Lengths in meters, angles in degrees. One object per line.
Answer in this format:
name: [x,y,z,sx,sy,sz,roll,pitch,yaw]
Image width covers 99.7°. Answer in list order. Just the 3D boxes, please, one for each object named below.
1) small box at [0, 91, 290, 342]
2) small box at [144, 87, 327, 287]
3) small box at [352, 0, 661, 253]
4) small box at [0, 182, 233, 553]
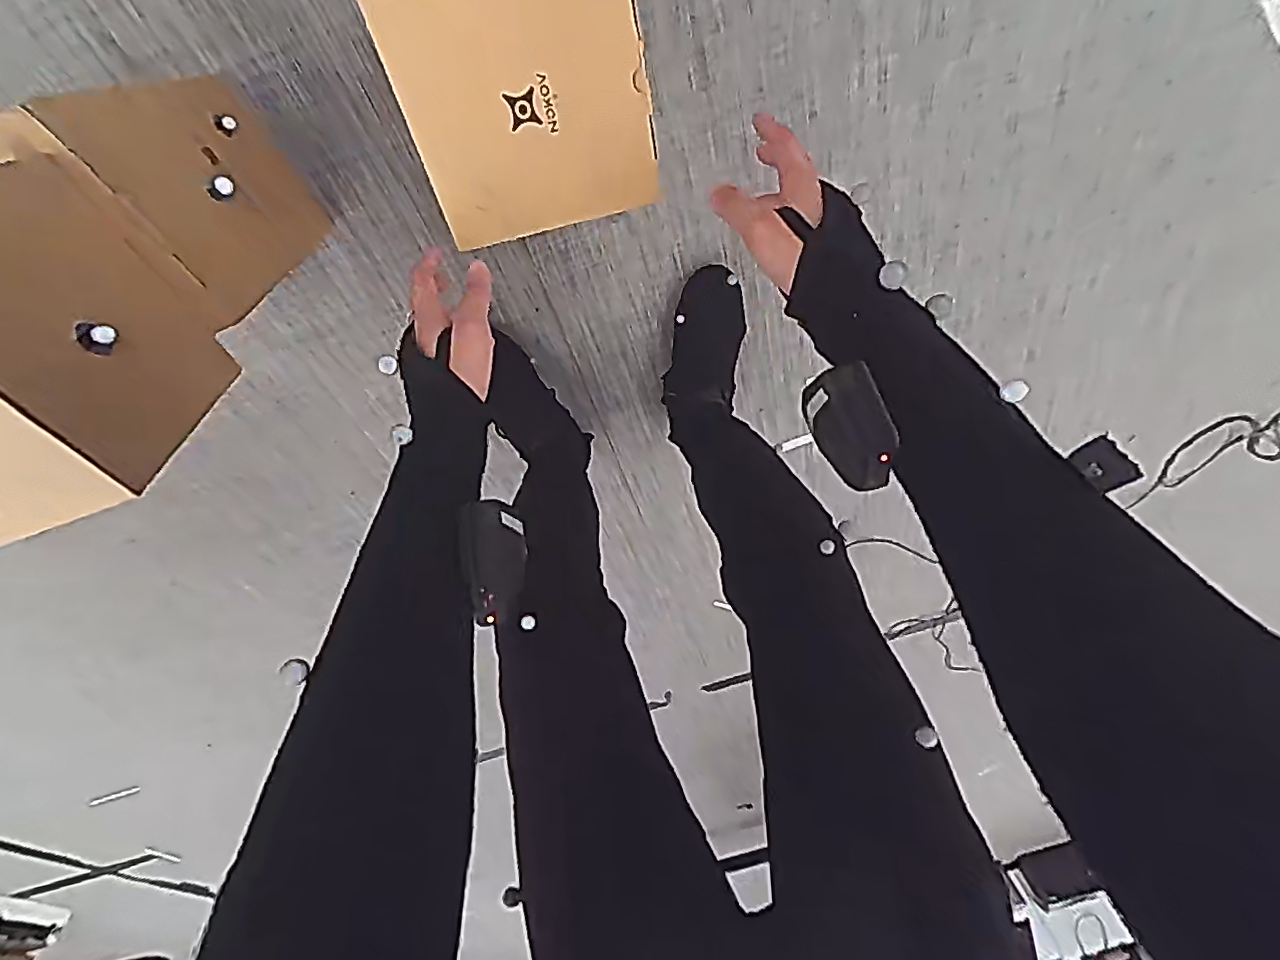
small box: [-0.449,-0.199,0.461,0.179,0.176,0.168,-22,131,7]
small box: [-0.486,-0.297,0.587,0.168,0.176,0.179,-21,131,6]
small box: [-0.093,-0.311,0.443,0.179,0.176,0.168,-15,131,0]
small box: [-0.430,-0.072,0.355,0.168,0.176,0.179,-18,132,5]
